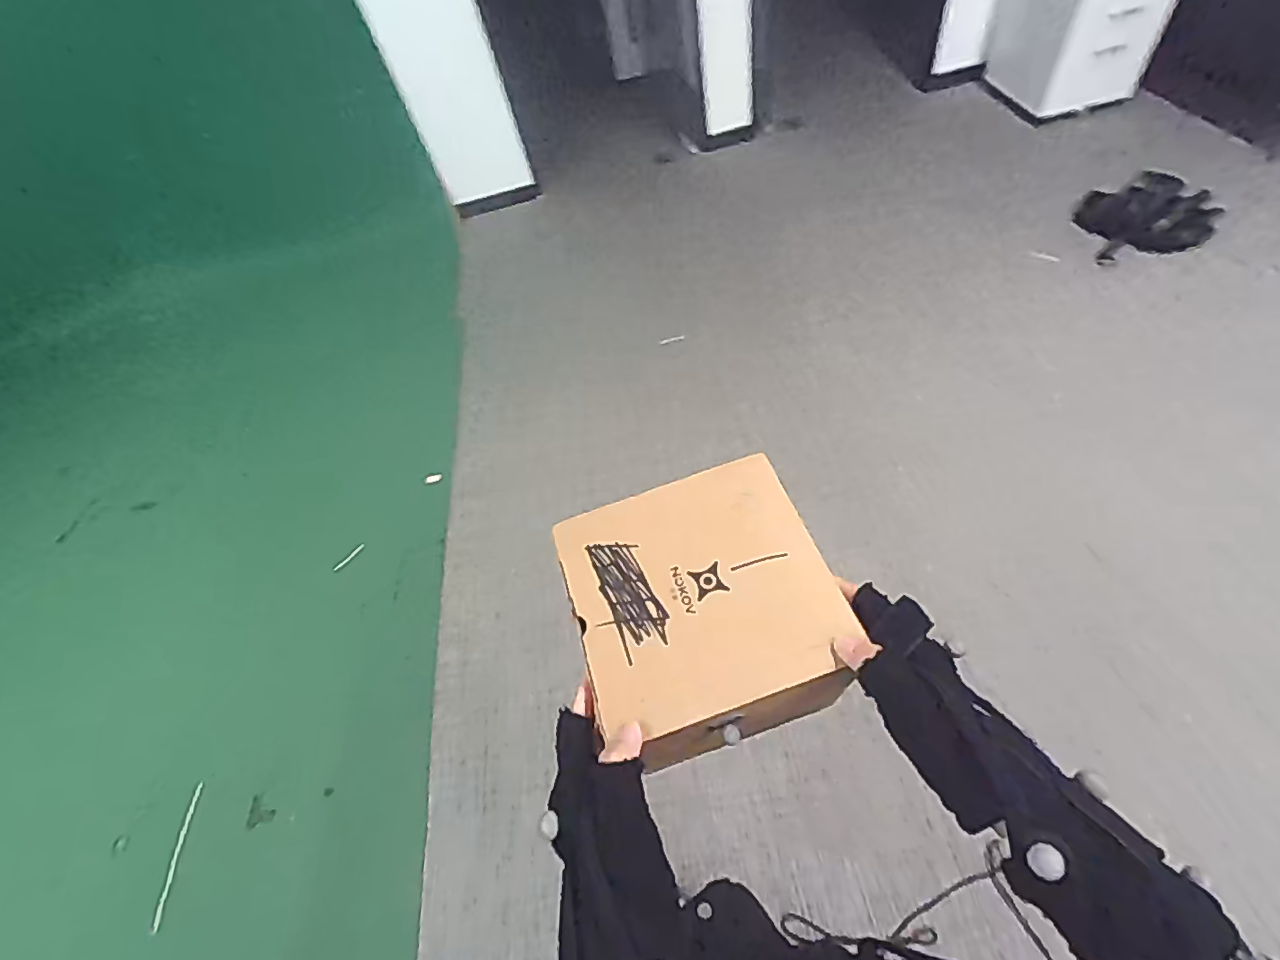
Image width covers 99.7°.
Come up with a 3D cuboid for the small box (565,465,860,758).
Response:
[{"bbox_3d":[0.053,0.120,0.459,0.179,0.176,0.168,-18,58,-3],"label":"small box"}]
